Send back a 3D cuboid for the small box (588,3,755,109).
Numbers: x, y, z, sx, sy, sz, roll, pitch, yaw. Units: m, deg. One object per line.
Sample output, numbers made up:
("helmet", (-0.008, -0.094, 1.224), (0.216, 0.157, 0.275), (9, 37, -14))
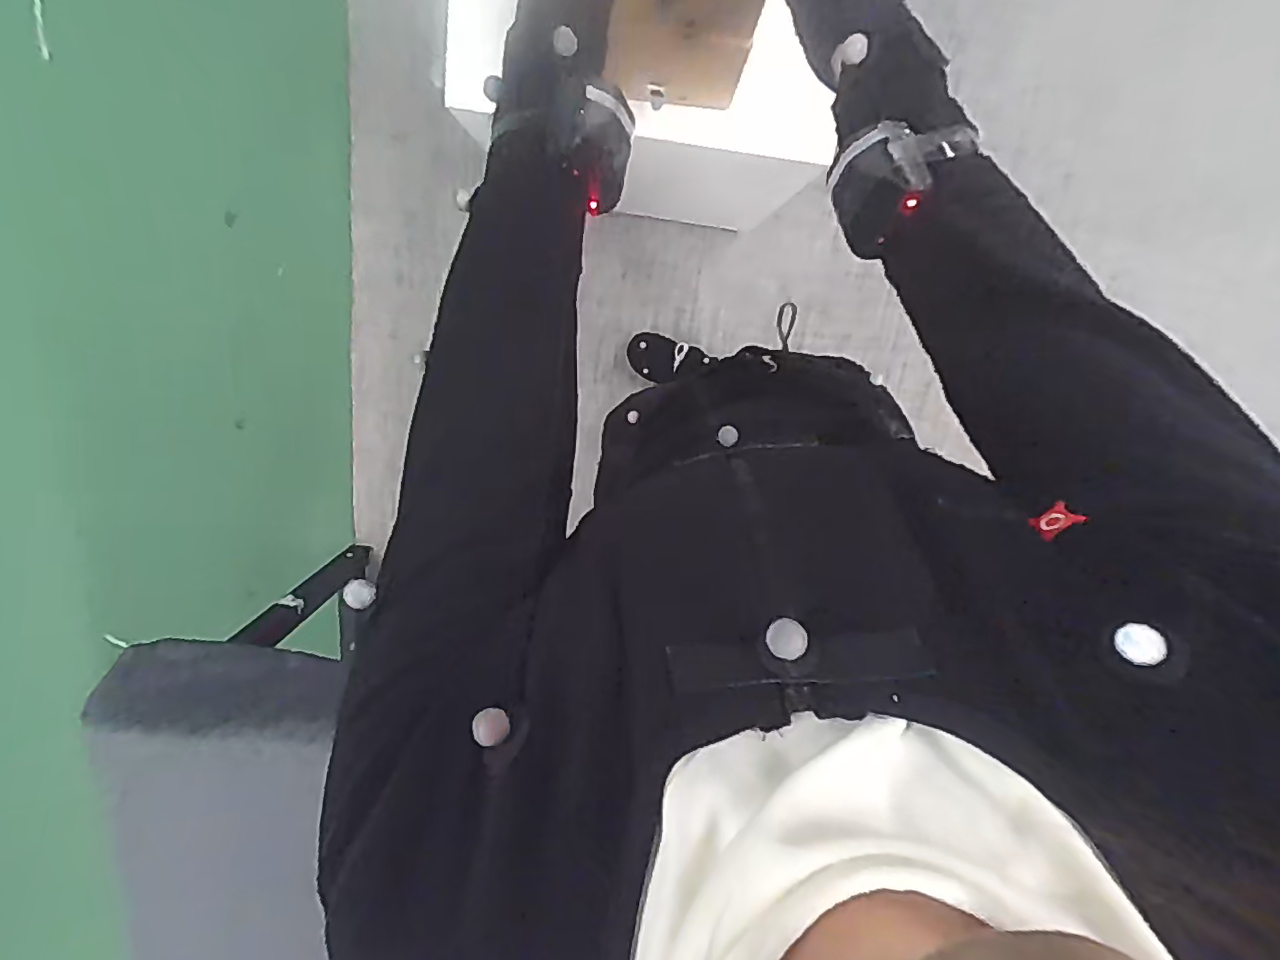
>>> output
("small box", (0.040, -0.538, 0.584), (0.168, 0.176, 0.179), (6, 108, 1))
